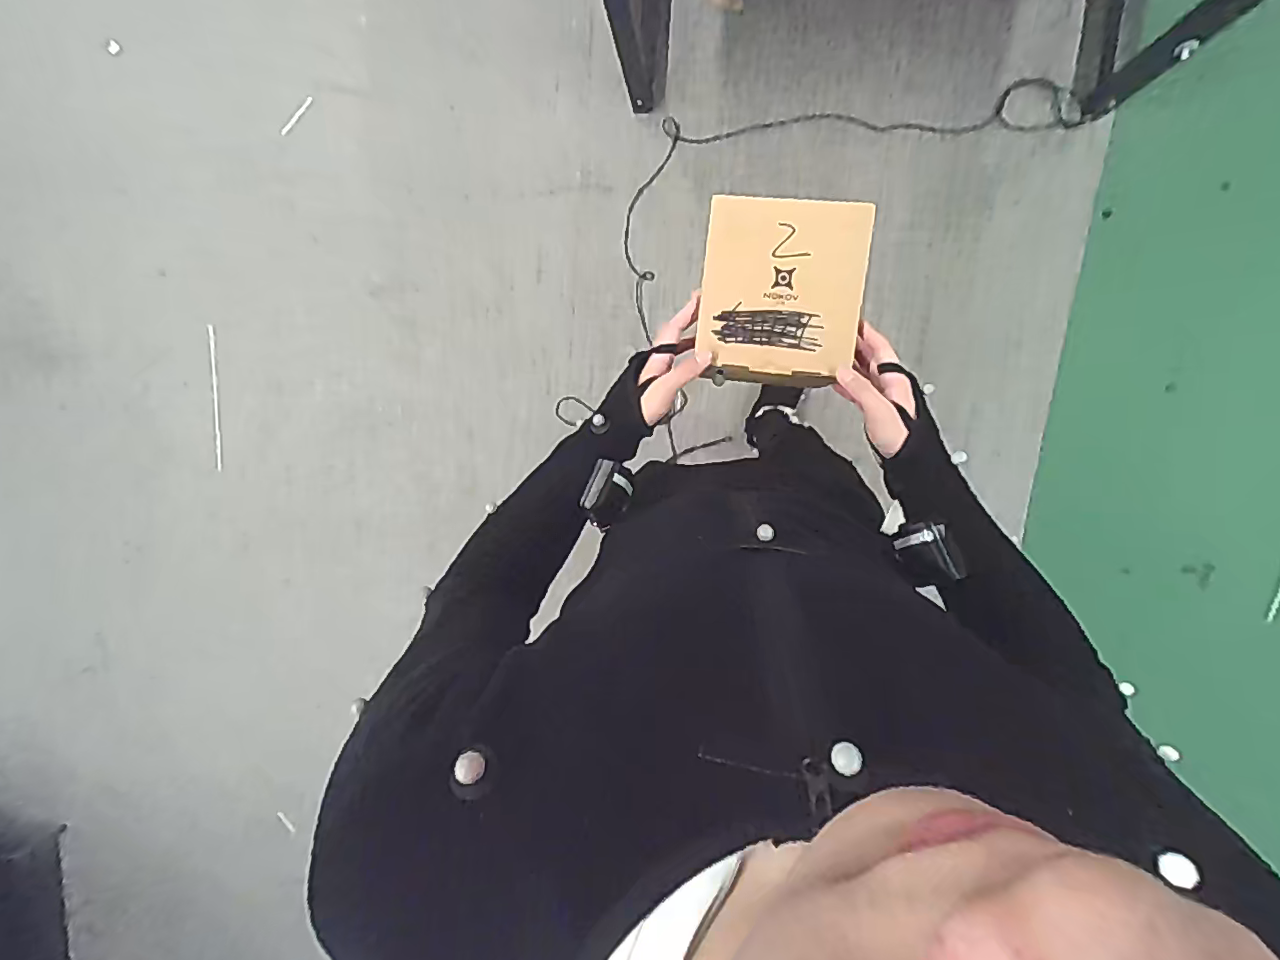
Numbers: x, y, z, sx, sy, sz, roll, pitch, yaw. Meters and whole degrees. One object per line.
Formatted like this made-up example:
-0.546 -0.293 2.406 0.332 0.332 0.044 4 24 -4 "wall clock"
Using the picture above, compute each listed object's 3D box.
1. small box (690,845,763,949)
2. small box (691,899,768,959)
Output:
0.235 1.157 1.480 0.168 0.176 0.179 10 100 6 "small box"
0.214 1.179 1.319 0.168 0.176 0.179 8 101 6 "small box"
